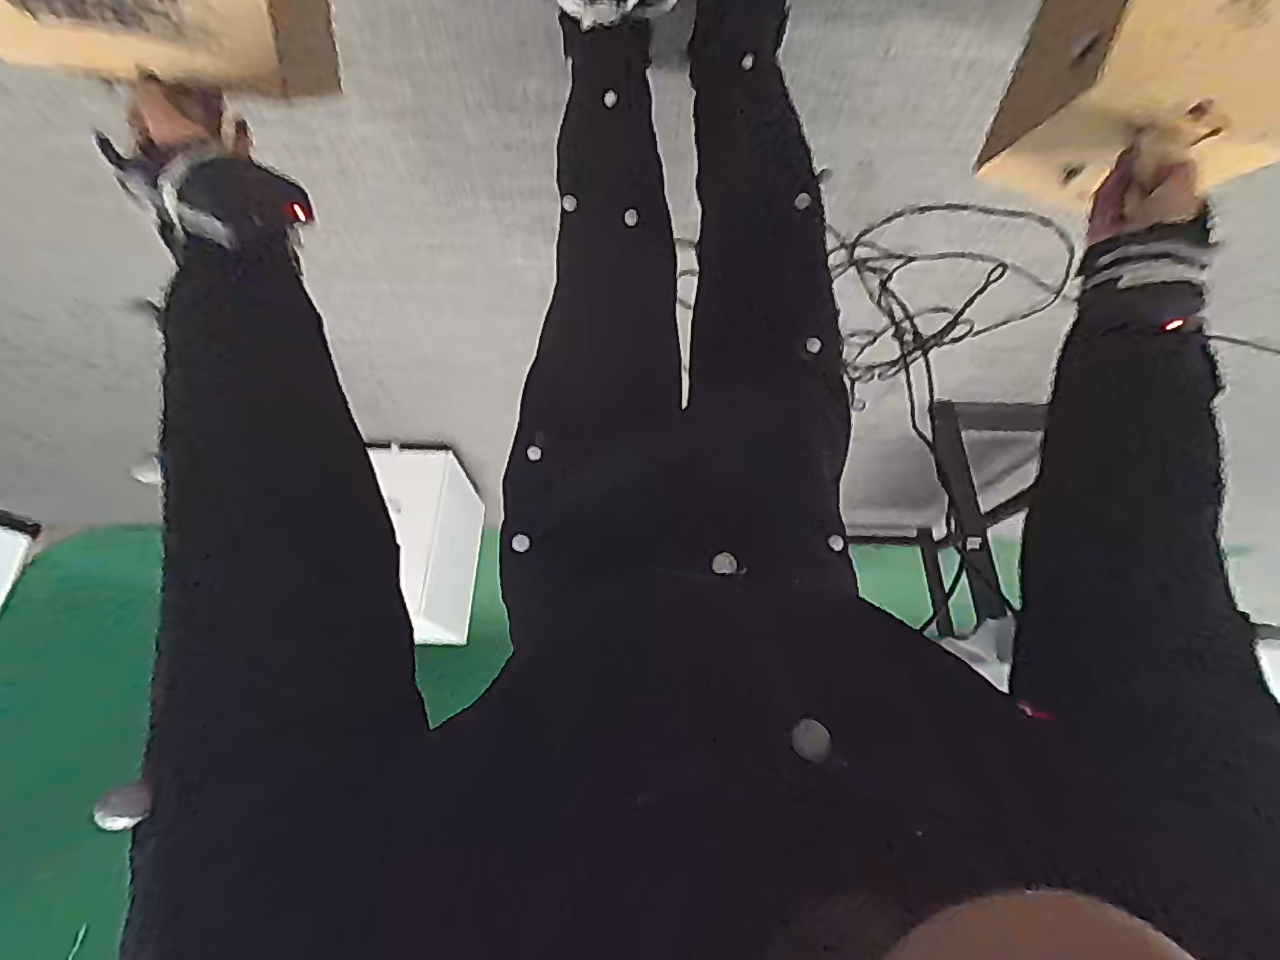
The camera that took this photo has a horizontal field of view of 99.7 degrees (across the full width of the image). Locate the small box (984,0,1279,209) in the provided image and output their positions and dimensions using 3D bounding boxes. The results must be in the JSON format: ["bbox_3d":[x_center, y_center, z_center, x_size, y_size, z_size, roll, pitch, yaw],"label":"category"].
[{"bbox_3d":[0.447,-0.372,0.470,0.168,0.179,0.176,19,-170,-1],"label":"small box"}]
